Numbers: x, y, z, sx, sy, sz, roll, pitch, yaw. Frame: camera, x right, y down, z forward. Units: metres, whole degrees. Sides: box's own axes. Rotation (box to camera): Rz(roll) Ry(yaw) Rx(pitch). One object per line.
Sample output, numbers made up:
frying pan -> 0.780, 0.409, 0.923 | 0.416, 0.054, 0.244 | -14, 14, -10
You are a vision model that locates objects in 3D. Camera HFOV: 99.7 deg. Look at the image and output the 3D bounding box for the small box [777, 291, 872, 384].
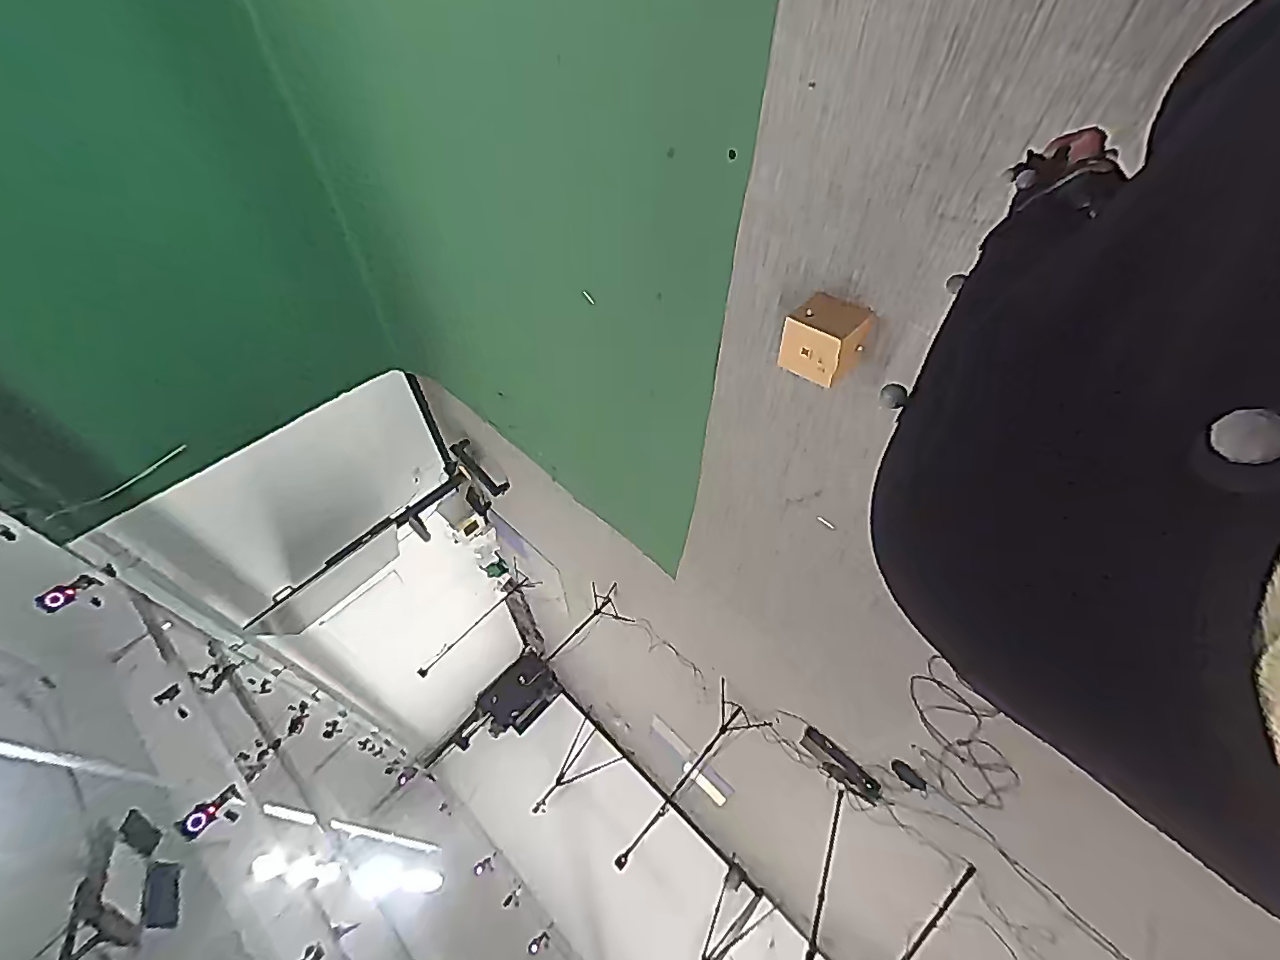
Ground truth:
small box -> 0.519, -0.409, 1.529 | 0.179, 0.176, 0.168 | 34, 150, 28
